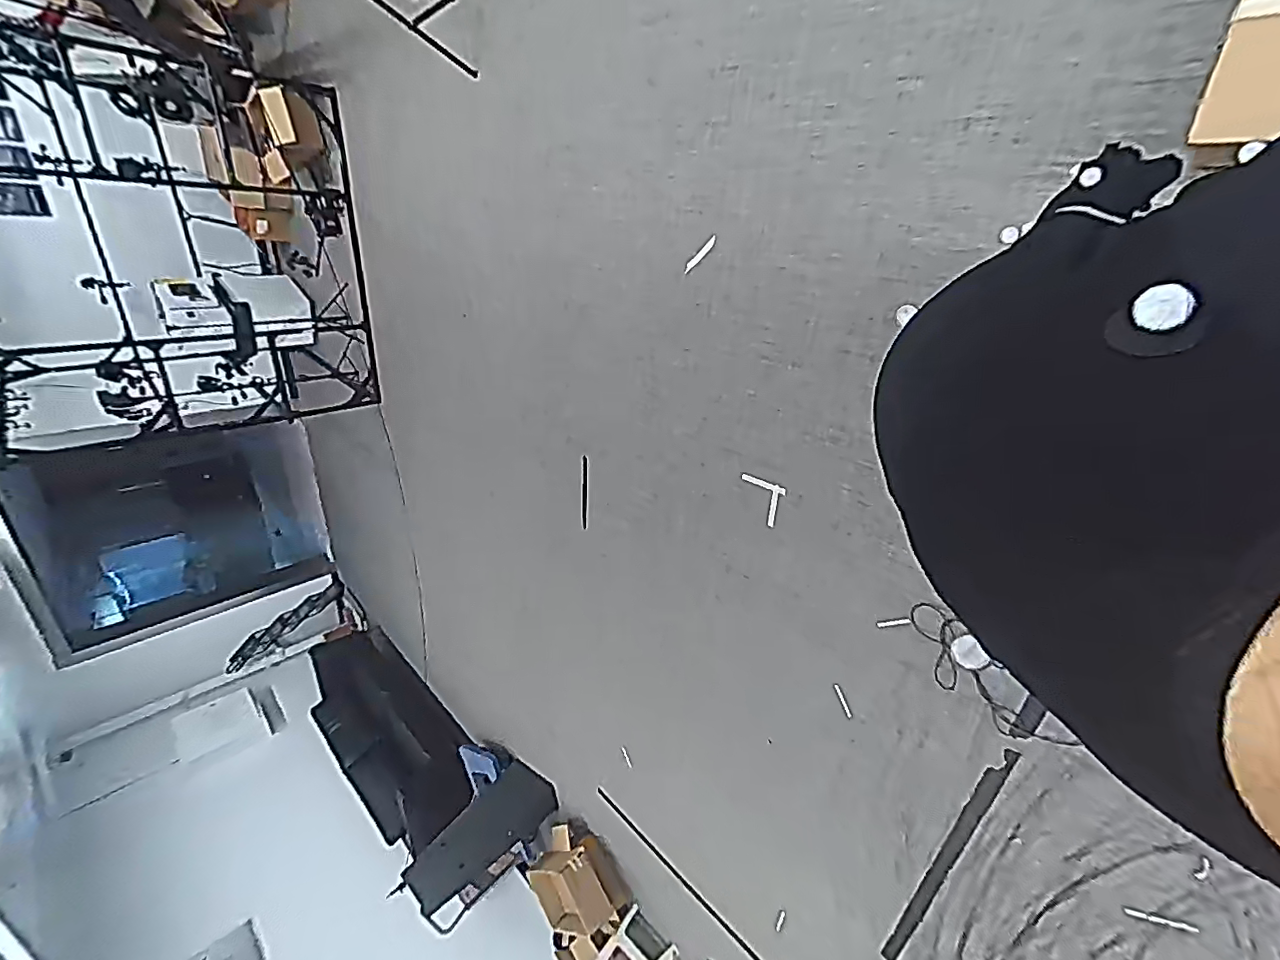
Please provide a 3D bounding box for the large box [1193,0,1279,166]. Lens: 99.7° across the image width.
[{"bbox_3d":[1.053,-0.611,0.703,0.408,0.320,0.320,25,123,38],"label":"large box"}]
